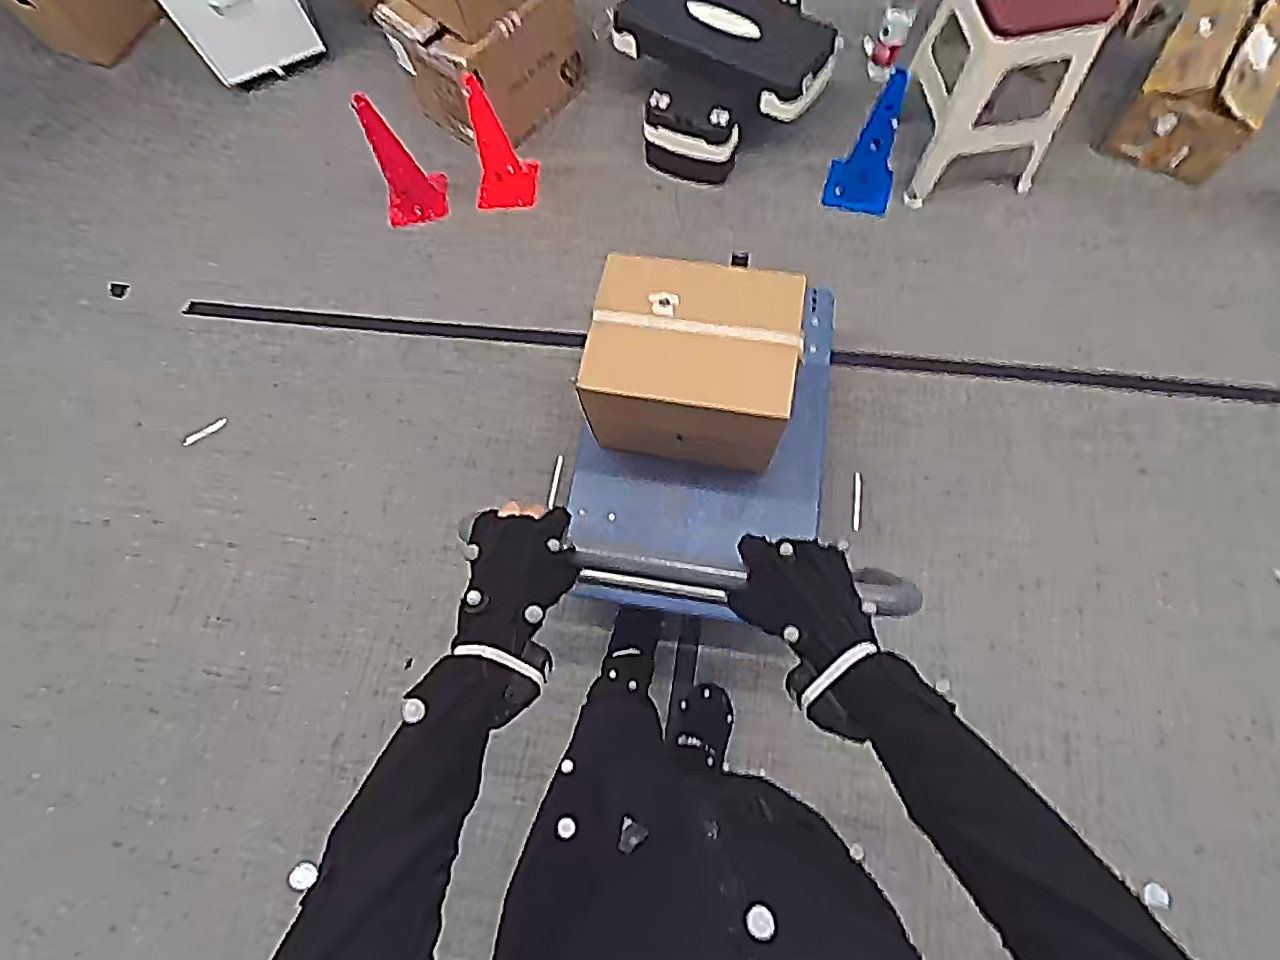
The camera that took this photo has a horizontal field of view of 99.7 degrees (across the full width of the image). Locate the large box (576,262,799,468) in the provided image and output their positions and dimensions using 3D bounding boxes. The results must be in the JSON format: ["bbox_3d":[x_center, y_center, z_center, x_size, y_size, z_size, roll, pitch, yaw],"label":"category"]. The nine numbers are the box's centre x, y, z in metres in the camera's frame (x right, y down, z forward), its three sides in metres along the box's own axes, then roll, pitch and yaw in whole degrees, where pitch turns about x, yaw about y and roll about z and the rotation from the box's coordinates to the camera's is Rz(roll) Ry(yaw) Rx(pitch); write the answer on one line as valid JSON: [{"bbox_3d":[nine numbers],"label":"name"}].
[{"bbox_3d":[0.111,-0.237,1.191,0.408,0.320,0.320,9,73,8],"label":"large box"}]
